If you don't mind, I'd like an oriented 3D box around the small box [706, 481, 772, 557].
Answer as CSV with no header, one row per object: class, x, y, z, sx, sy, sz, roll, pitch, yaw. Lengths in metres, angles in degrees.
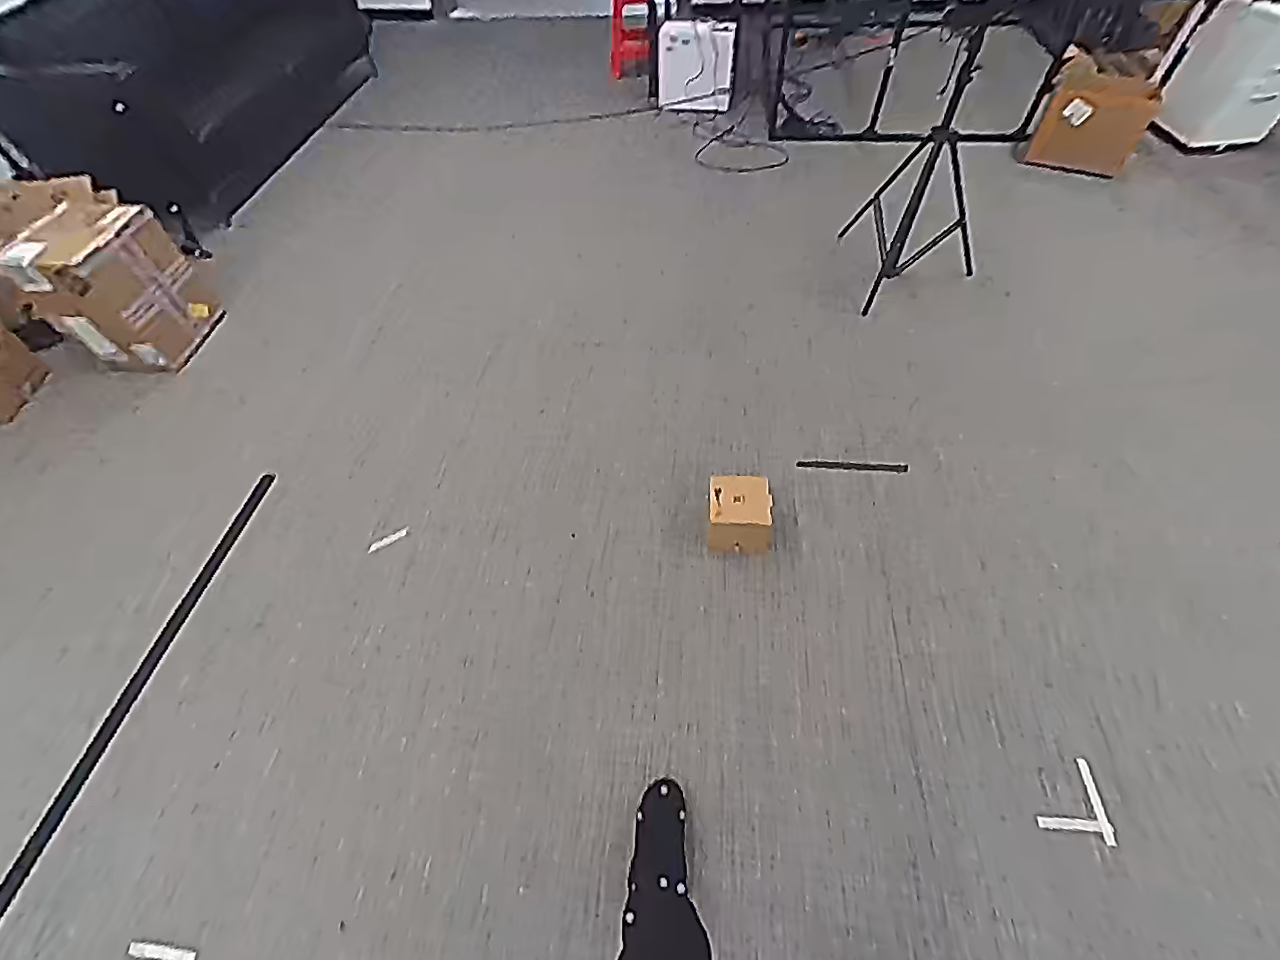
small box,0.293,0.120,1.628,0.179,0.176,0.168,3,54,5
